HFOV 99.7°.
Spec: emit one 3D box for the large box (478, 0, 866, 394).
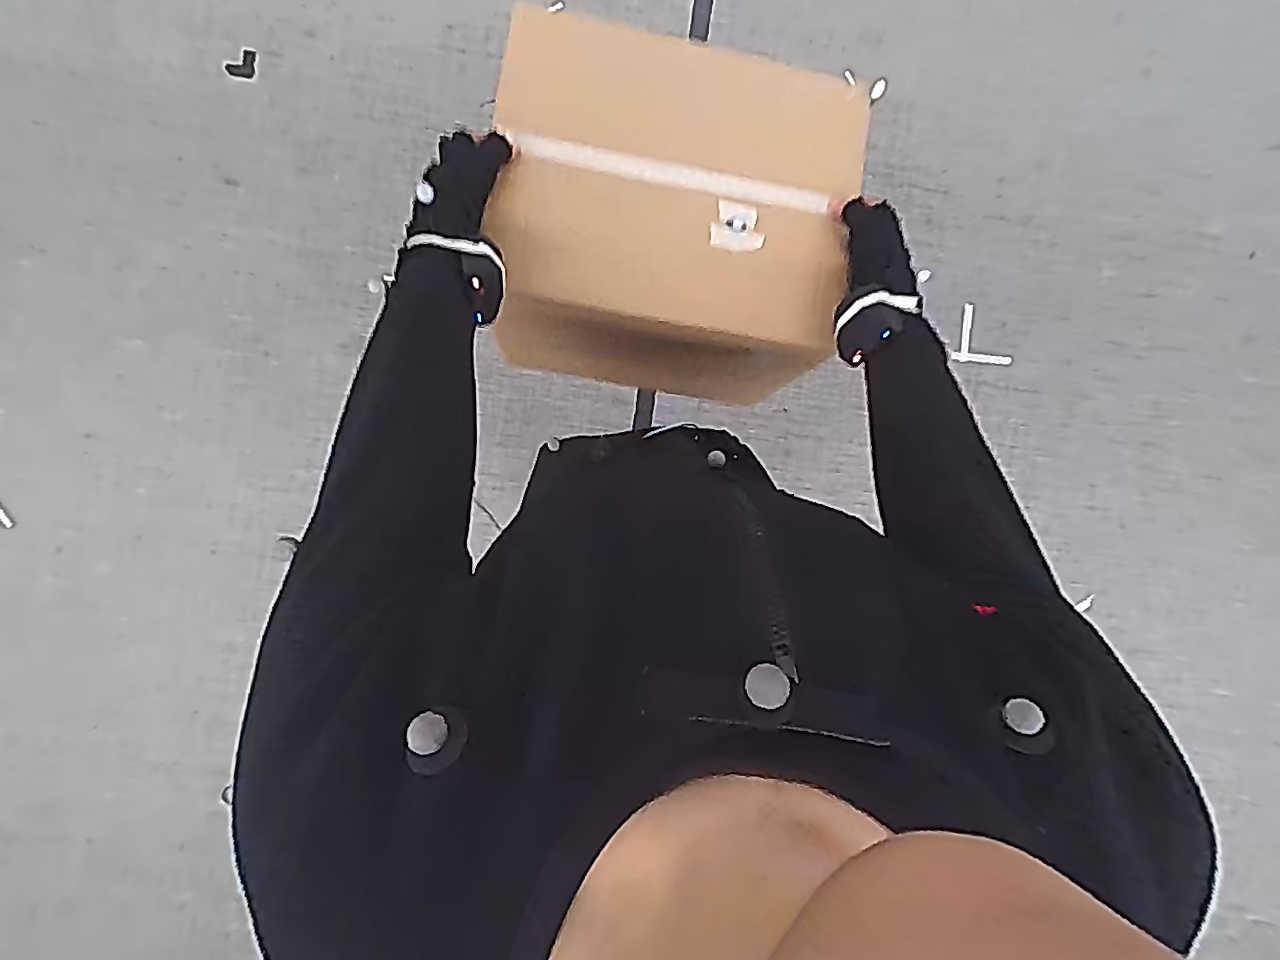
[{"bbox_3d":[0.024,-0.324,0.730,0.408,0.320,0.320,9,87,-8],"label":"large box"}]
